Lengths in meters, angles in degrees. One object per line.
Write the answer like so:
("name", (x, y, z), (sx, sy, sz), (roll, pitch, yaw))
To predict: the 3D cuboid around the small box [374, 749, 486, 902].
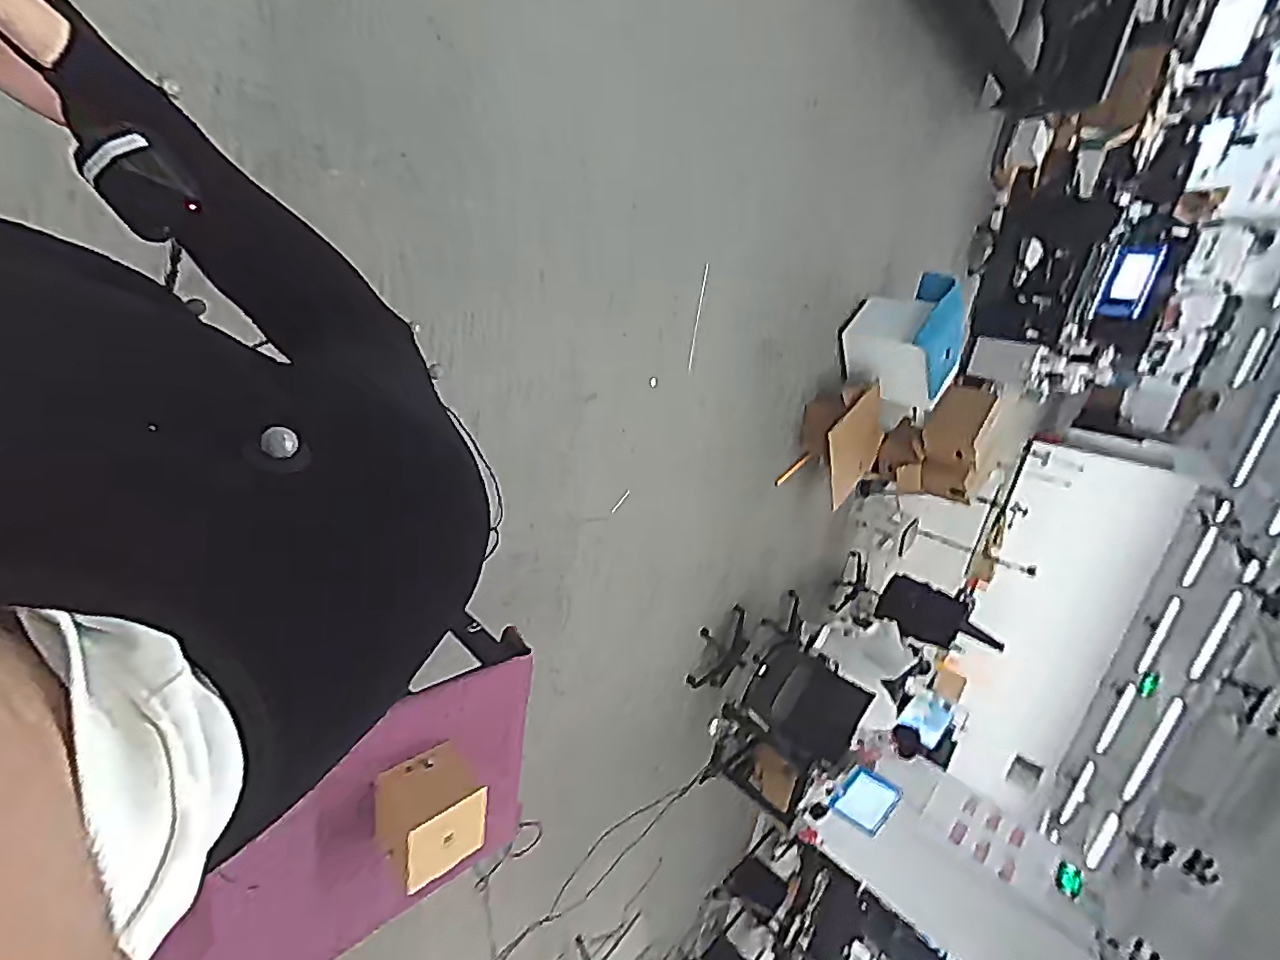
("small box", (-0.448, 0.721, 1.148), (0.168, 0.176, 0.179), (-11, 116, -46))
